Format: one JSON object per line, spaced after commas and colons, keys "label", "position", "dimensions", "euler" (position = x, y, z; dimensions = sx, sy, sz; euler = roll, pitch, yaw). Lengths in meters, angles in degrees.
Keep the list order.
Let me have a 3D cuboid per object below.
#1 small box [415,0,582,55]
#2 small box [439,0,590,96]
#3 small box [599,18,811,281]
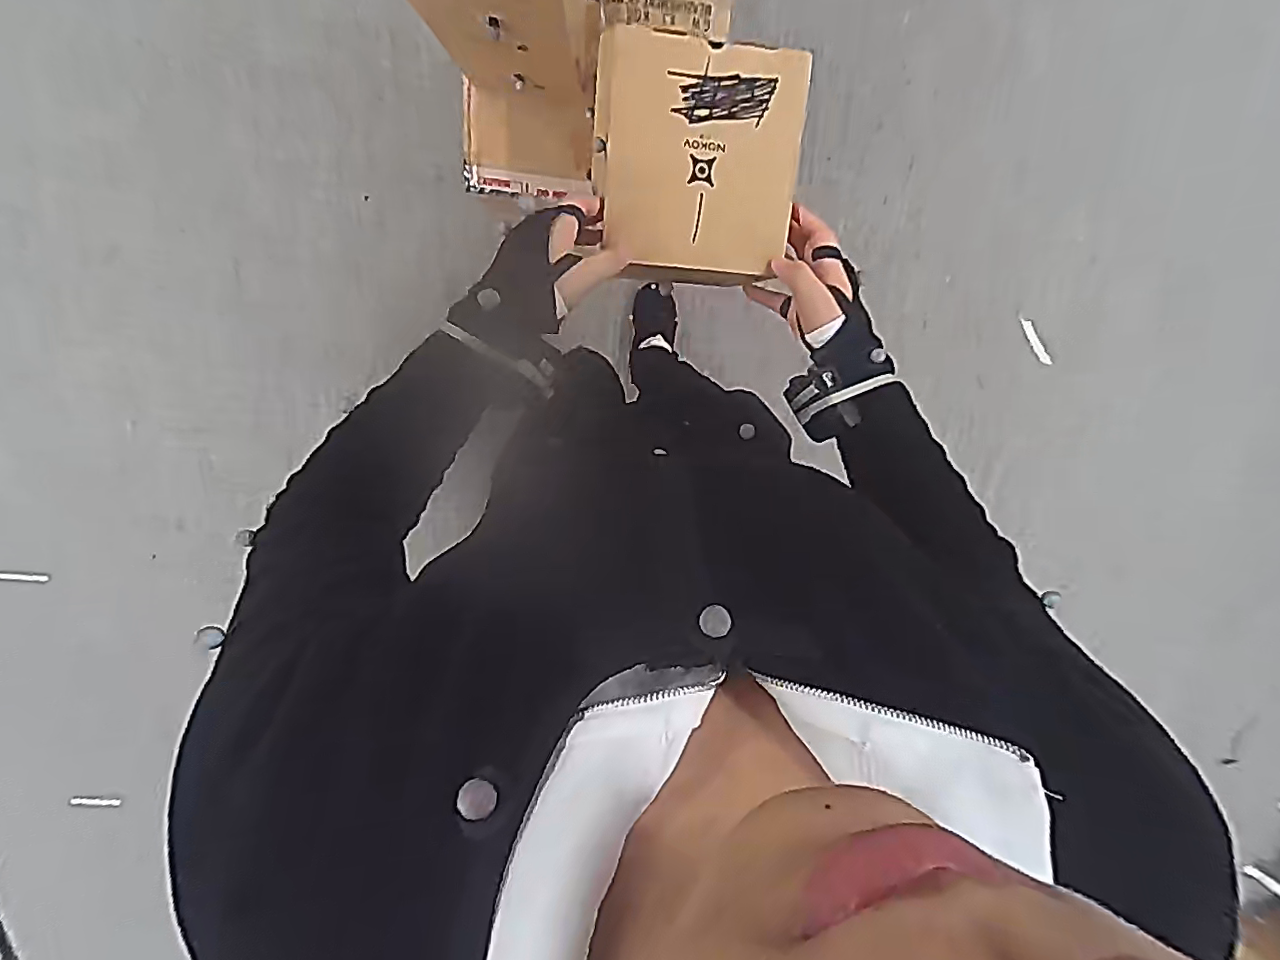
{"label": "small box", "position": [-0.145, -0.566, 0.545], "dimensions": [0.168, 0.176, 0.179], "euler": [5, 110, -3]}
{"label": "small box", "position": [-0.153, -0.631, 0.696], "dimensions": [0.168, 0.176, 0.179], "euler": [3, 110, -2]}
{"label": "small box", "position": [0.047, -0.301, 0.534], "dimensions": [0.168, 0.176, 0.179], "euler": [2, 107, -7]}
